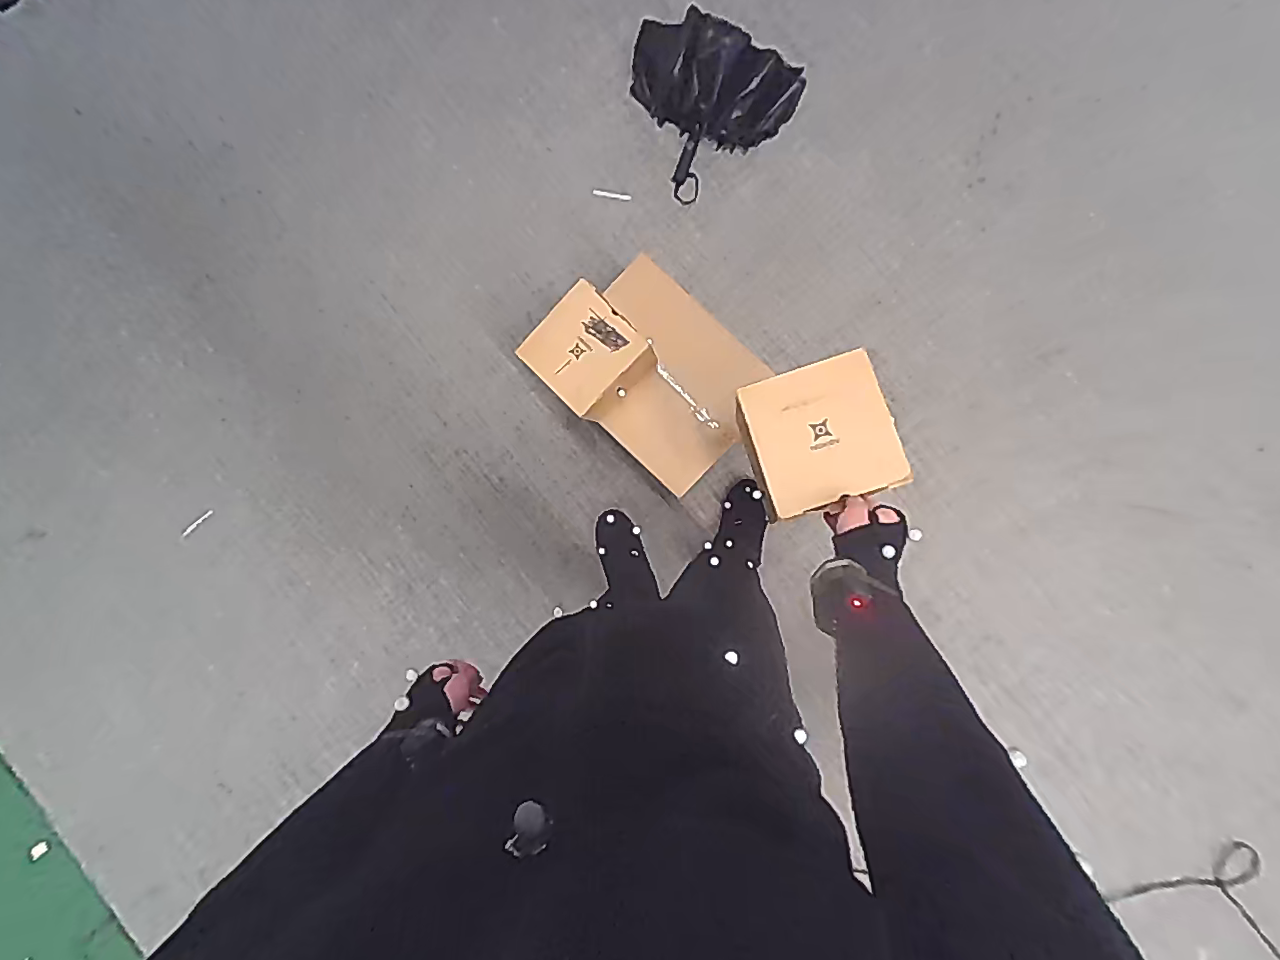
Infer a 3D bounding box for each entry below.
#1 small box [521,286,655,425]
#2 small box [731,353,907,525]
[{"bbox_3d":[-0.085,-0.220,1.007,0.168,0.176,0.179,45,98,3],"label":"small box"},{"bbox_3d":[0.233,-0.042,0.742,0.168,0.176,0.179,-20,78,7],"label":"small box"}]
